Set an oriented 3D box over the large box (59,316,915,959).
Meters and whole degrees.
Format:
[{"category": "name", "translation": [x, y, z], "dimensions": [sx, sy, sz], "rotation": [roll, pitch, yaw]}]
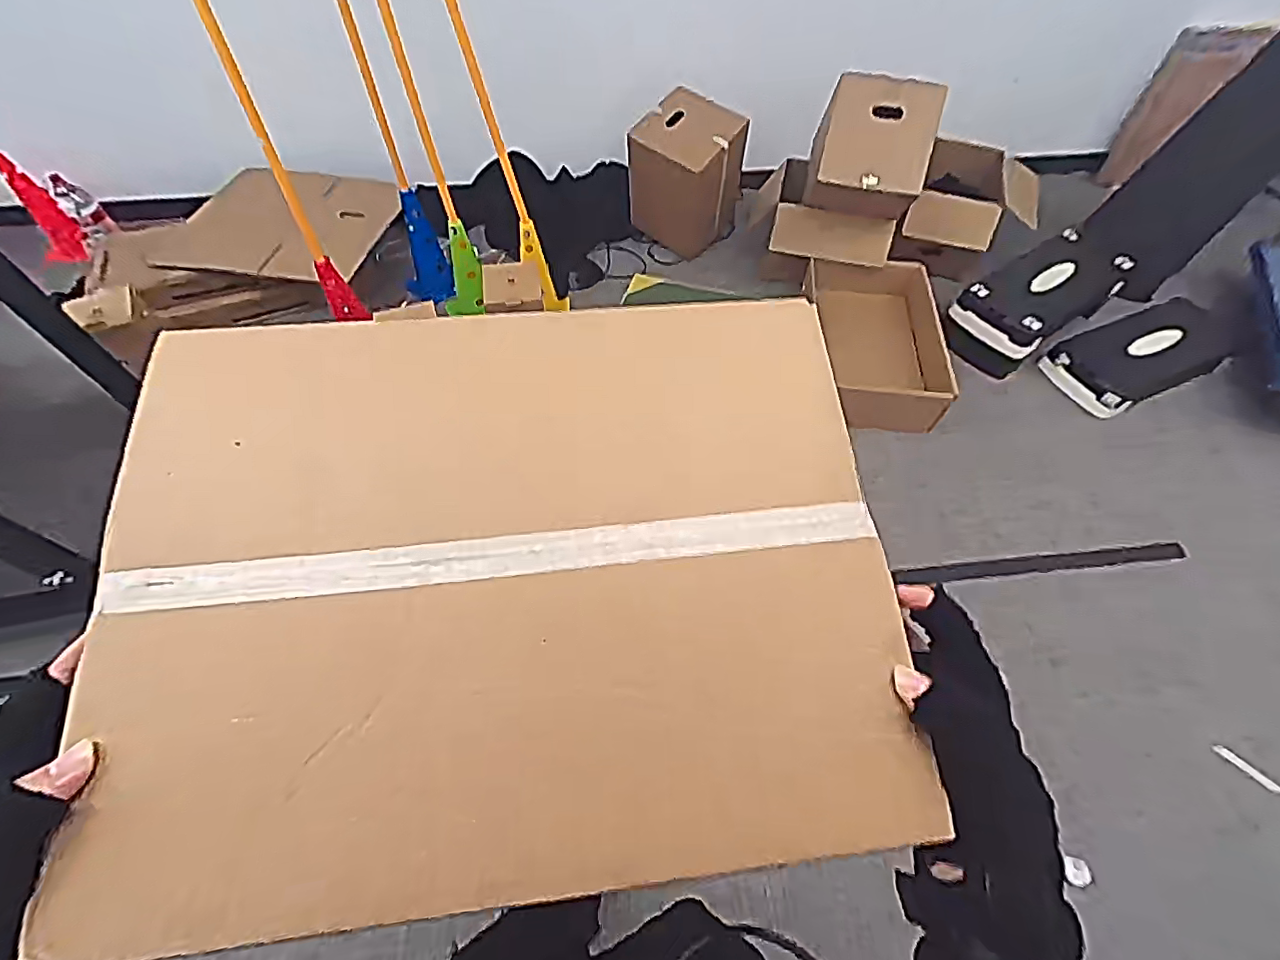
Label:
[{"category": "large box", "translation": [-0.080, 0.099, 0.440], "dimensions": [0.408, 0.320, 0.320], "rotation": [-5, 69, -5]}]
